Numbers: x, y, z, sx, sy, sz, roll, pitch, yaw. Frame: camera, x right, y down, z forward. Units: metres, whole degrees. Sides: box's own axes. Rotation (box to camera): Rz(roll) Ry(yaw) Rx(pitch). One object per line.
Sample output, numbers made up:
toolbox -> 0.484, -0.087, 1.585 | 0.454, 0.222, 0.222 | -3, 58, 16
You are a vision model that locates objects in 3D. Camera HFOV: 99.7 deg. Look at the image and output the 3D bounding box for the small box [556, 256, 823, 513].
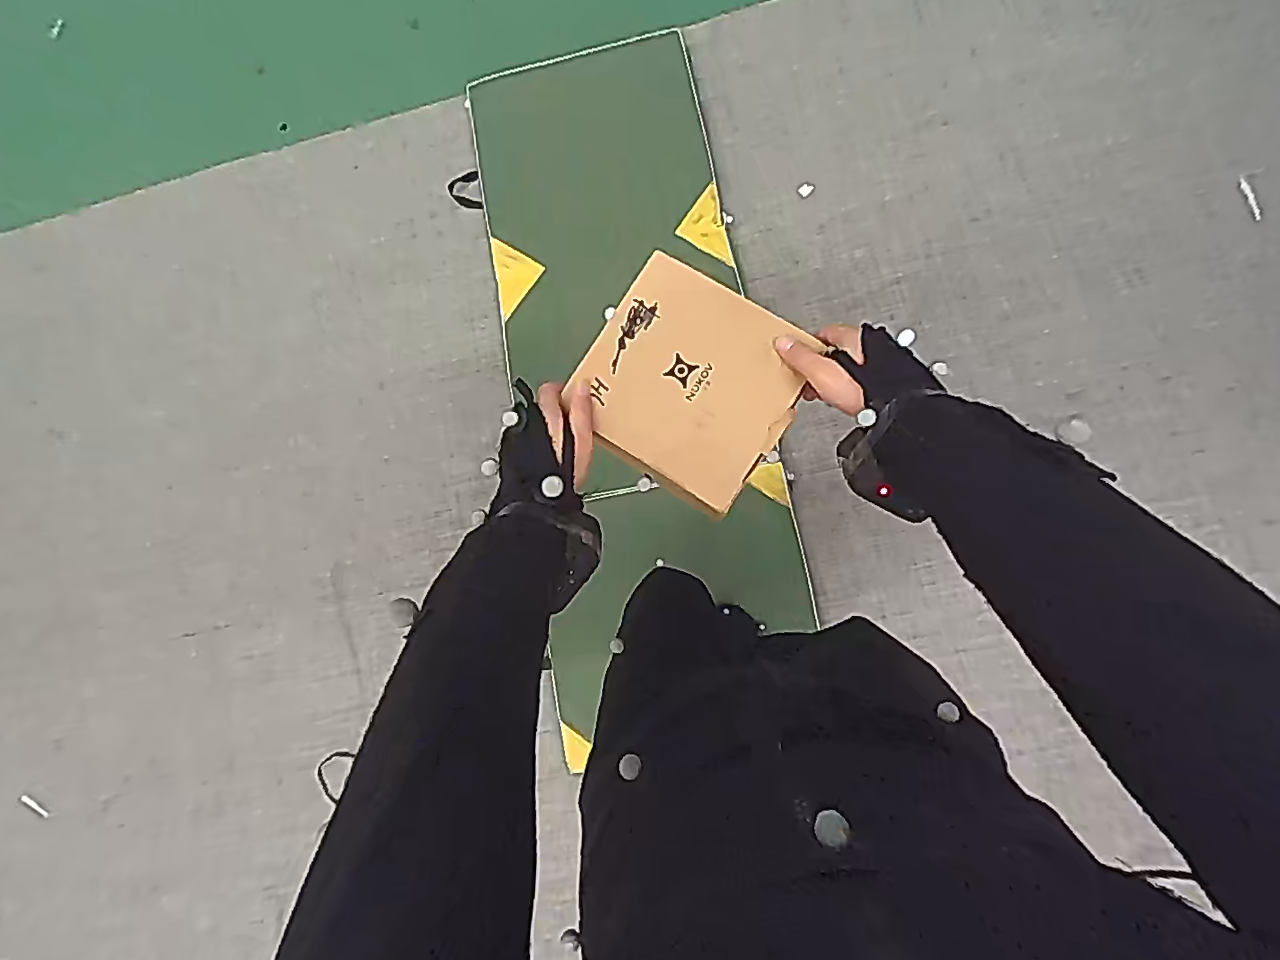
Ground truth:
small box -> 0.048, -0.079, 0.544 | 0.179, 0.176, 0.168 | 33, 87, 8
